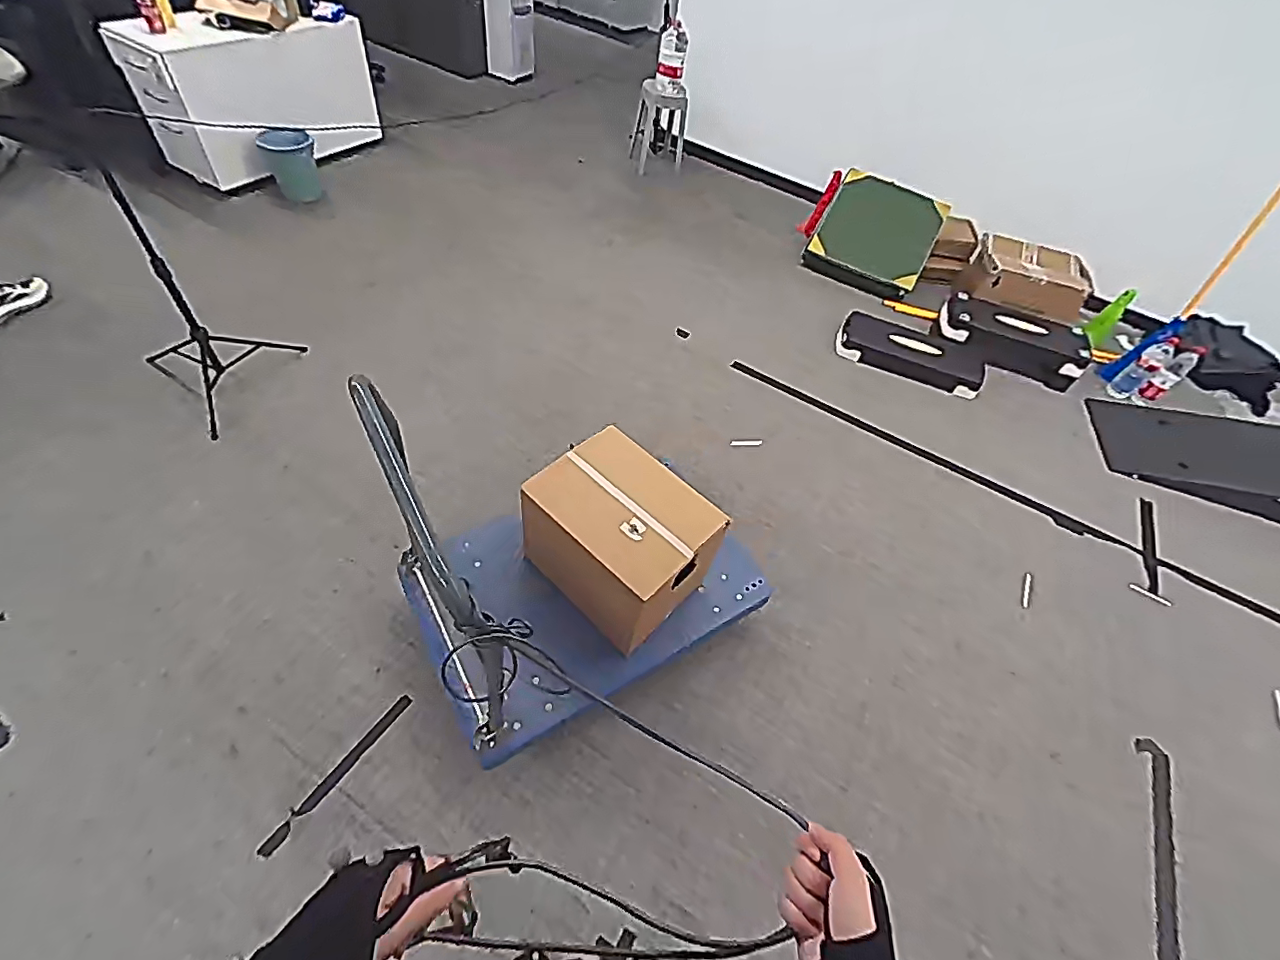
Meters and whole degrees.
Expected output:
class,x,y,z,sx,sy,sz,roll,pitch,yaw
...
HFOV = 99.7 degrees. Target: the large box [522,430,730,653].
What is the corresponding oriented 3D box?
class,x,y,z,sx,sy,sz,roll,pitch,yaw
large box,-0.054,0.151,1.375,0.408,0.320,0.320,40,56,19
